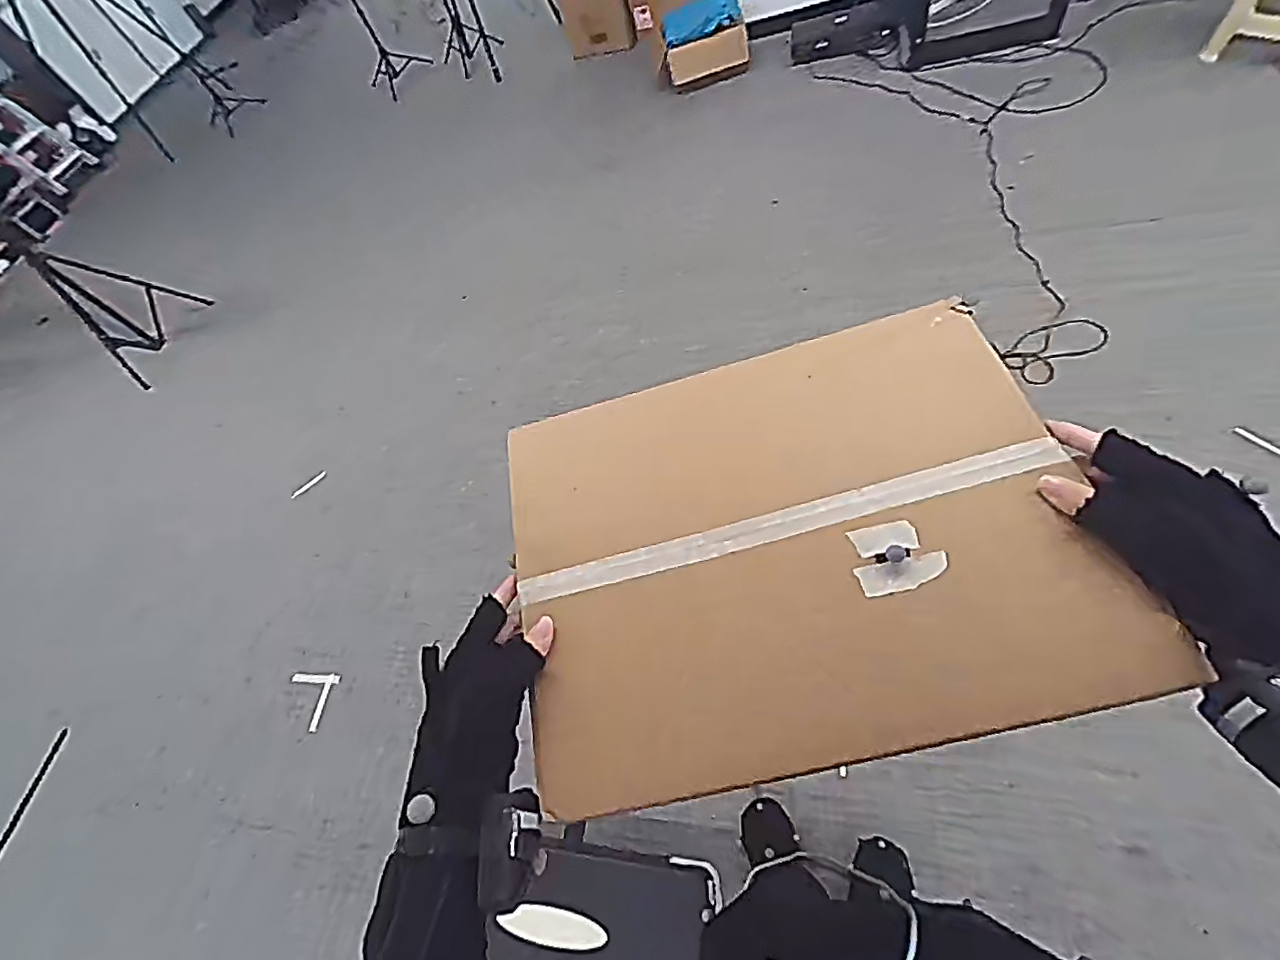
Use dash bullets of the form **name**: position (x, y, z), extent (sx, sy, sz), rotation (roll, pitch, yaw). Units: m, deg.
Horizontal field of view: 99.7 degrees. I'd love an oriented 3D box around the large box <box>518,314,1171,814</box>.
- **large box**: position (0.135, 0.105, 0.544), extent (0.408, 0.320, 0.320), rotation (-16, 61, 5)
